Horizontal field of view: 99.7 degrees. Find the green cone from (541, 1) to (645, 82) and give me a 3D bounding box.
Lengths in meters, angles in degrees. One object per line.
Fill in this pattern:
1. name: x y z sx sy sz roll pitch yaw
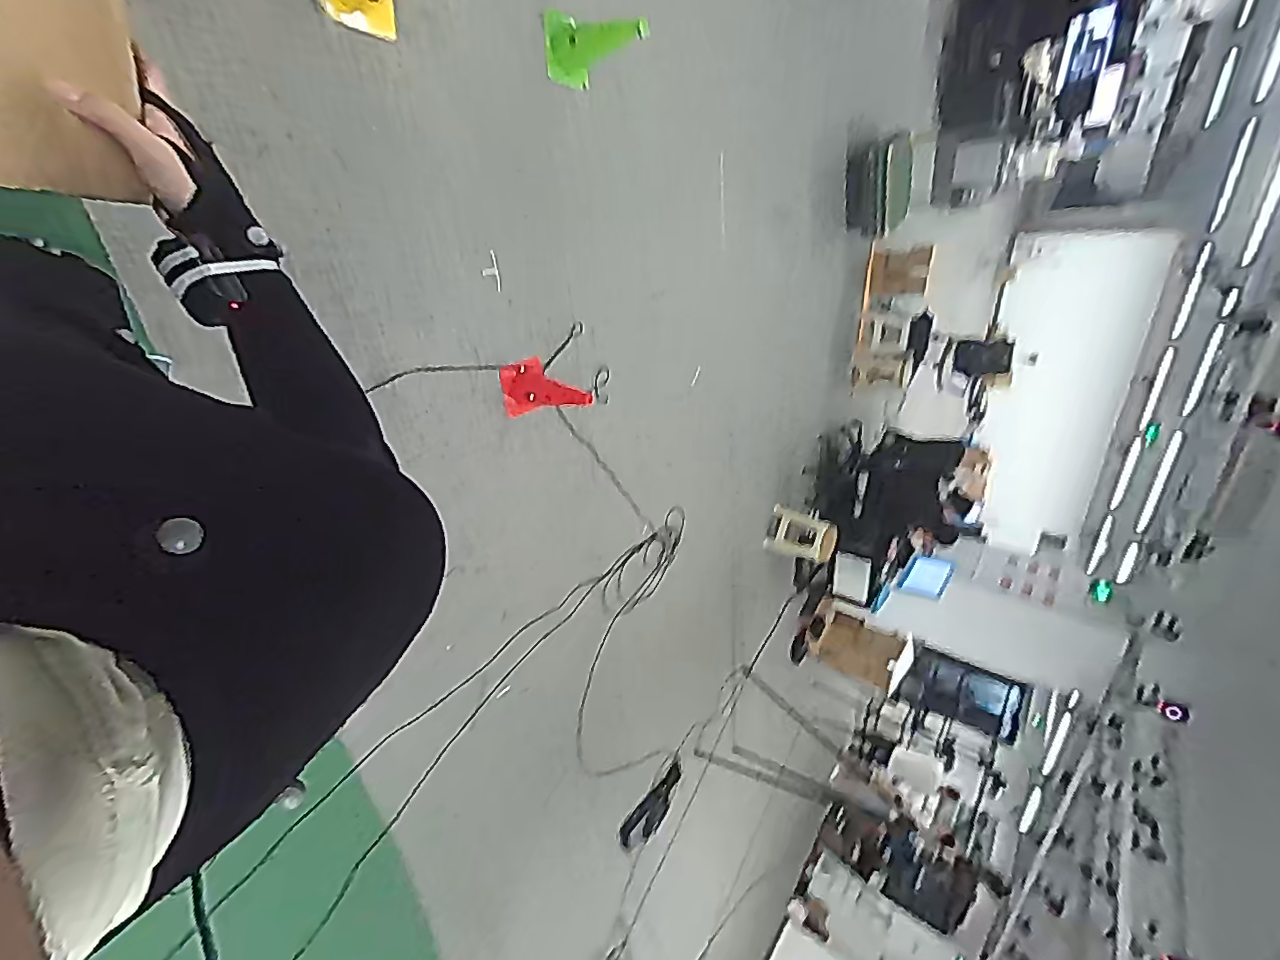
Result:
1. green cone: -0.132 -1.490 1.790 0.202 0.368 0.200 -25 123 -44
